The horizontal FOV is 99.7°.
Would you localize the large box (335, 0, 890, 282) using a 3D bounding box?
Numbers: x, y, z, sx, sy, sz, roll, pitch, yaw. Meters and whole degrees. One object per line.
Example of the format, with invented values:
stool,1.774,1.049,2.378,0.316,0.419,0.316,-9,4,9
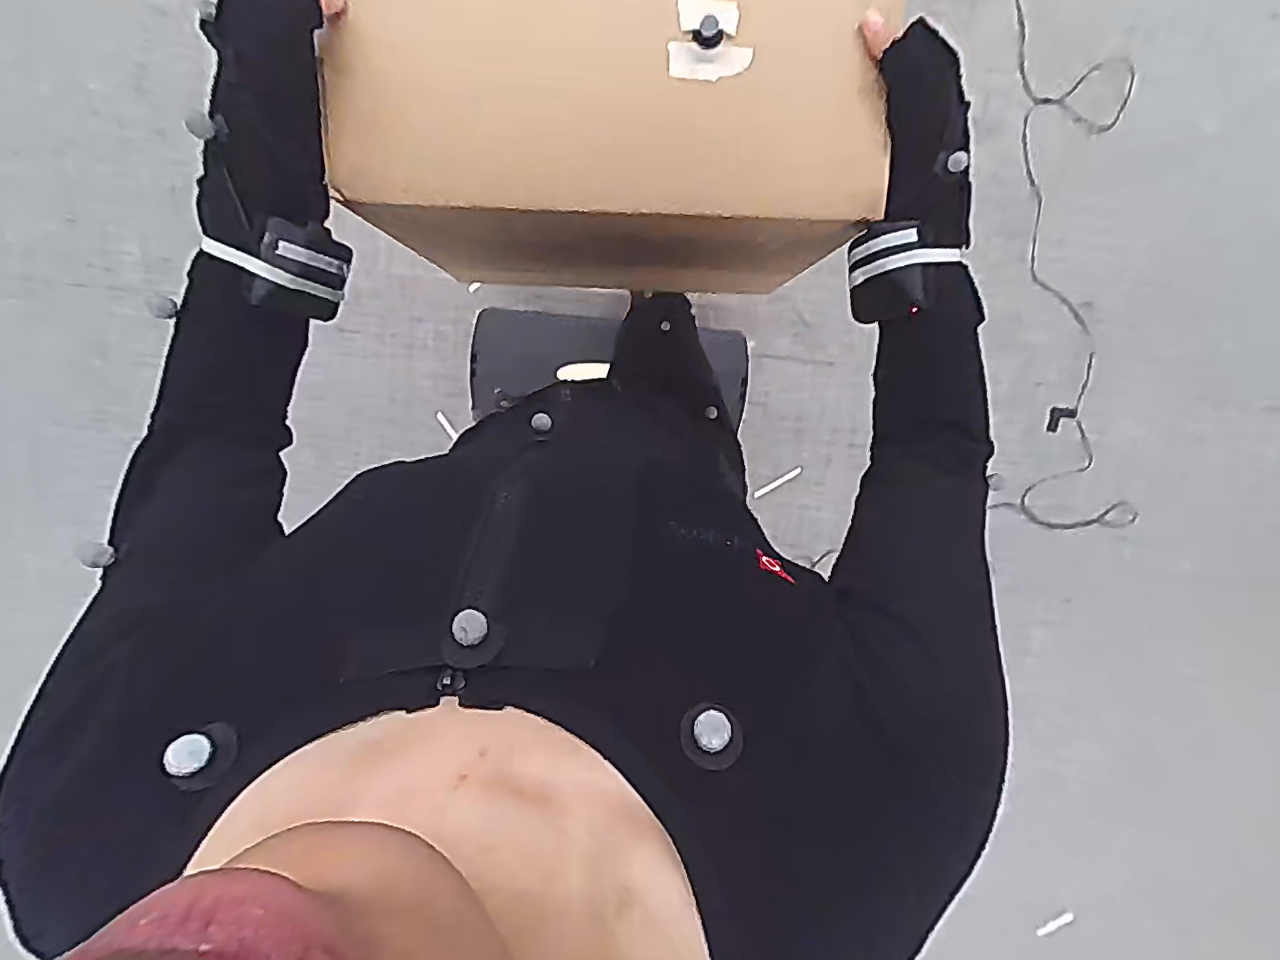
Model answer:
large box,-0.022,-0.387,0.529,0.408,0.320,0.320,1,99,-2
